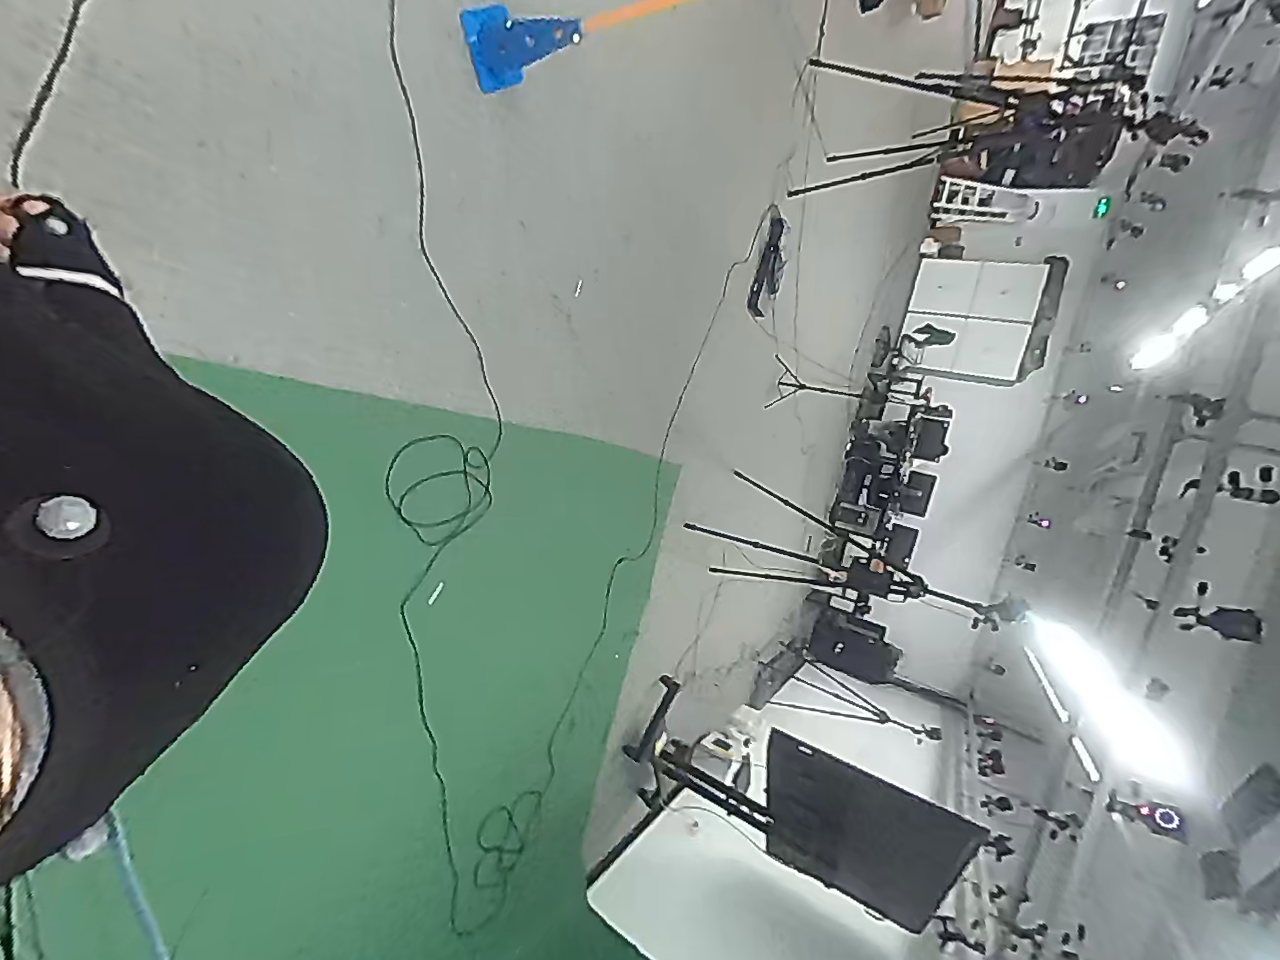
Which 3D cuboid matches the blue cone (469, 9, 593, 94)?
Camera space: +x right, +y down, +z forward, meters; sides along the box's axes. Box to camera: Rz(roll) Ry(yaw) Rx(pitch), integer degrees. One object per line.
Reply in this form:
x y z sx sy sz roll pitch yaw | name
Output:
-0.300 -1.290 1.589 0.193 0.380 0.192 -53 143 -35 | blue cone
